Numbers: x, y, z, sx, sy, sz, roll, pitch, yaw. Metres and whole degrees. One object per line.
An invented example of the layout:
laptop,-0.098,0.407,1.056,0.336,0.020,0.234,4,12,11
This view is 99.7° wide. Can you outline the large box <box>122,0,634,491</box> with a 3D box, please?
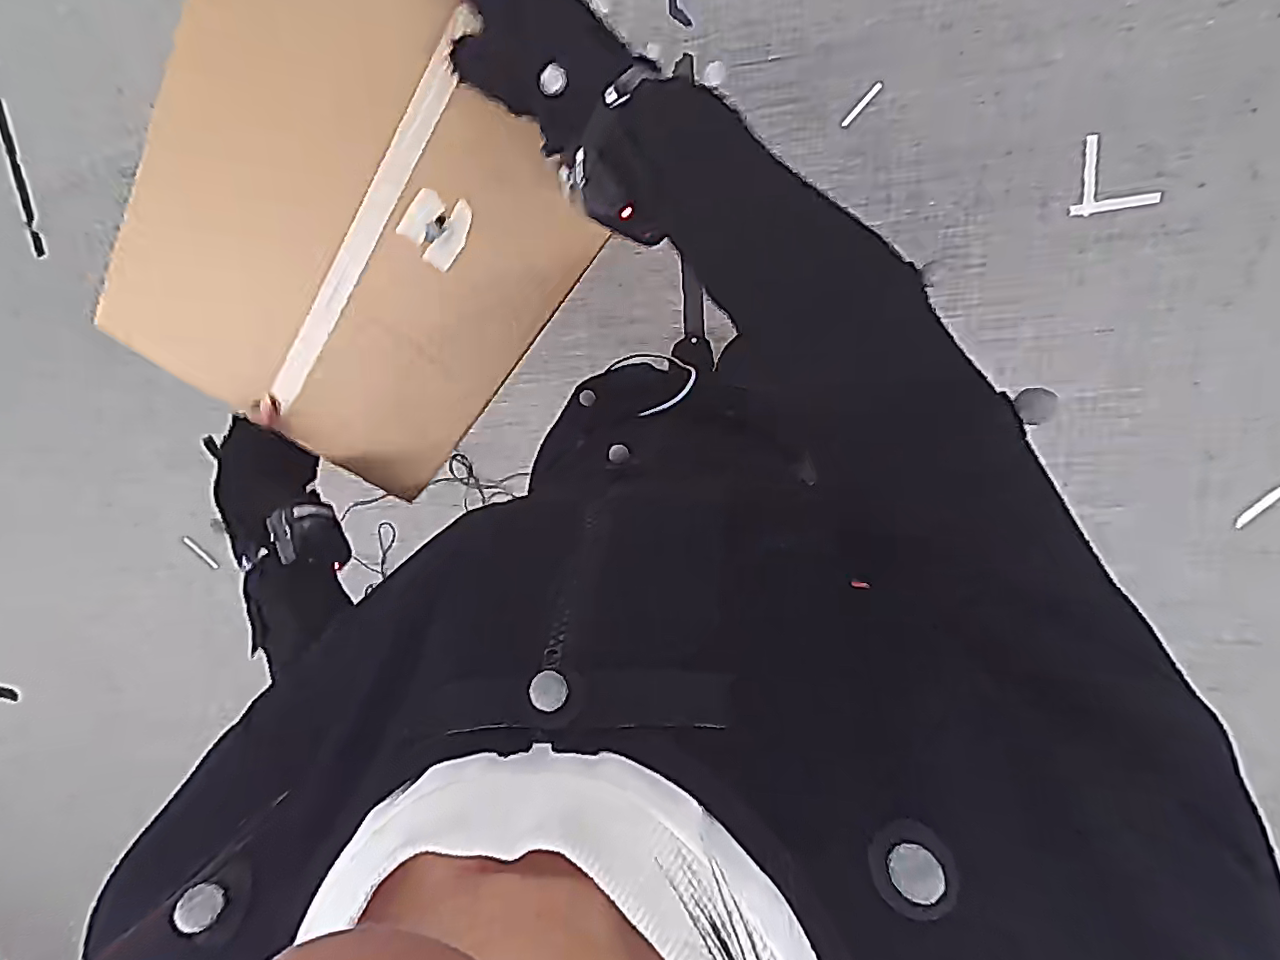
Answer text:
large box,-0.244,-0.273,0.594,0.320,0.320,0.408,33,115,-20
